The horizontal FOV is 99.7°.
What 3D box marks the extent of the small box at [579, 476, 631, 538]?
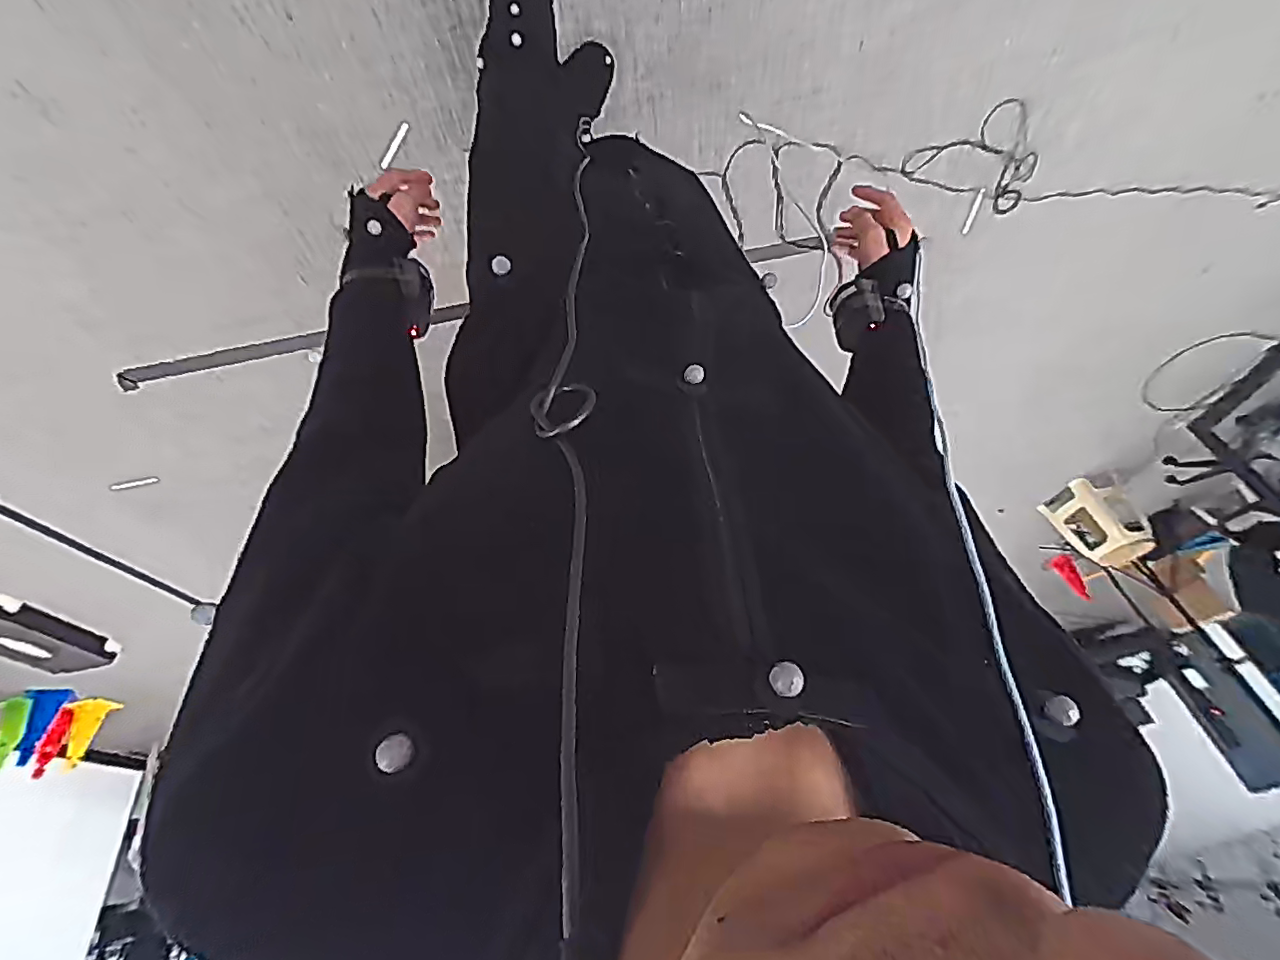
[{"bbox_3d":[-0.143,0.108,2.180,0.179,0.176,0.168,-13,145,0],"label":"small box"}]
